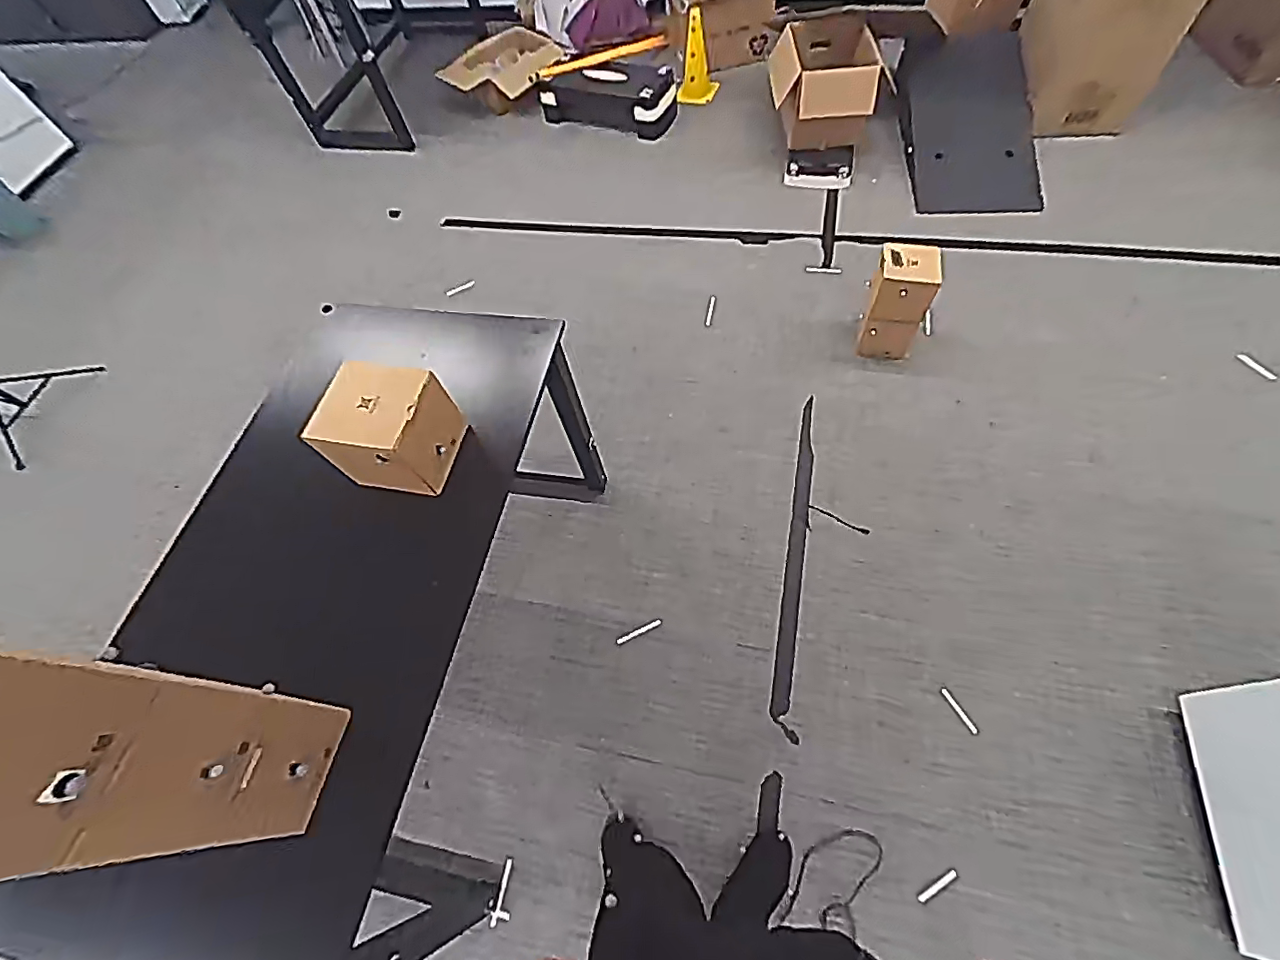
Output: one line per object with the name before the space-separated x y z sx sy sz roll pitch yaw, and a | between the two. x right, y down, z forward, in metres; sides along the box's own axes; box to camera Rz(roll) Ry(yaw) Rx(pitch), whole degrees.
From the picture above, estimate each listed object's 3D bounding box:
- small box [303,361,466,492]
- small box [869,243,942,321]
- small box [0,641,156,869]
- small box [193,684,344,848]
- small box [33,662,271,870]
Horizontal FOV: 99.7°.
small box | -0.448 -0.092 0.977 0.179 0.176 0.168 7 63 10
small box | 0.857 -0.640 1.758 0.179 0.176 0.168 9 63 10
small box | -0.583 0.220 0.450 0.179 0.176 0.168 7 64 10
small box | -0.549 0.376 0.736 0.179 0.176 0.168 6 62 9
small box | -0.567 0.298 0.592 0.179 0.176 0.168 7 63 10
